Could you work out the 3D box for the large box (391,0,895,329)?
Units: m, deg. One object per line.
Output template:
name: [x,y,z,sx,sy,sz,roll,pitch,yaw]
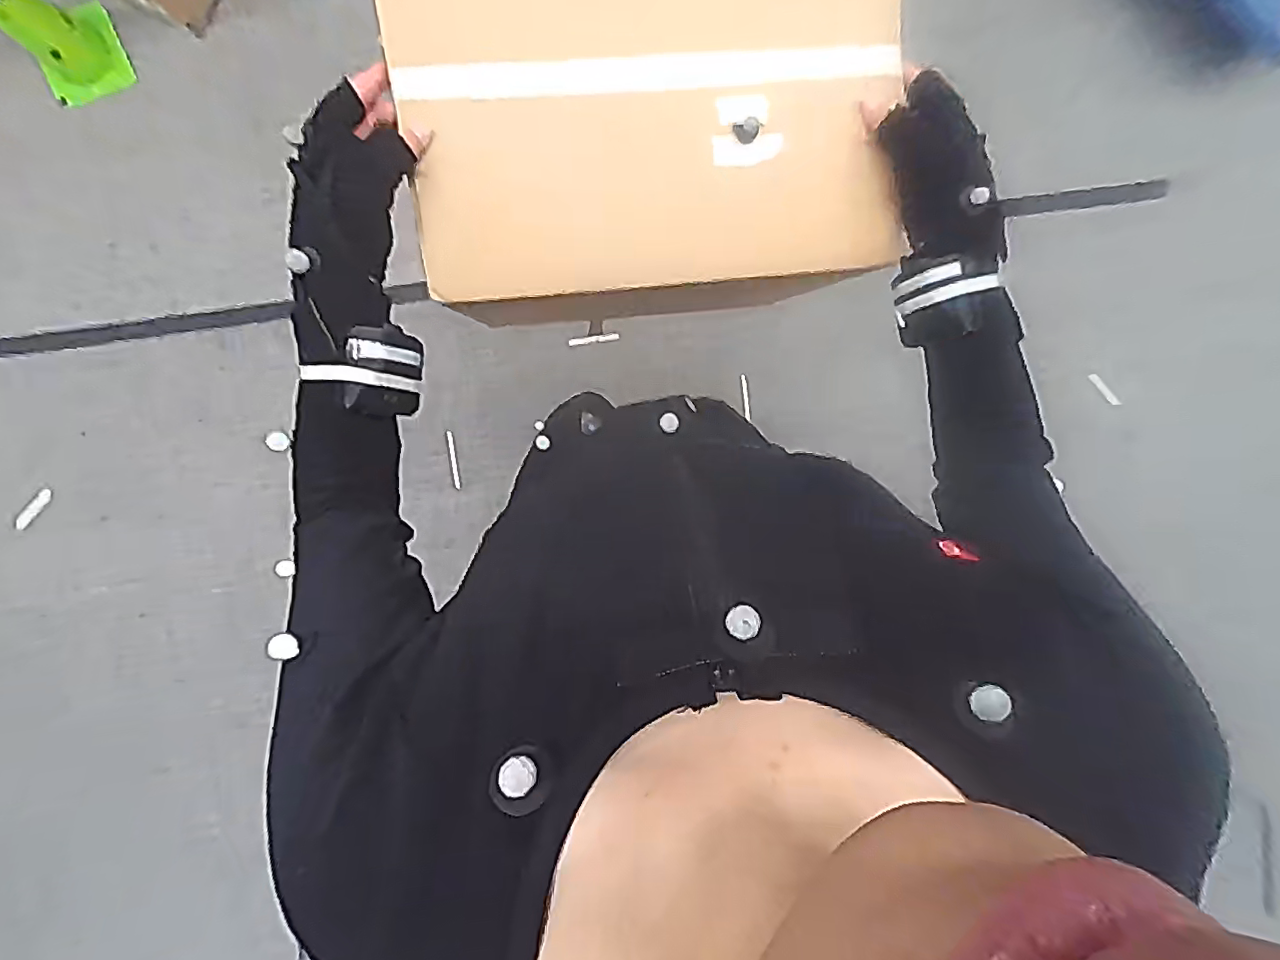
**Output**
large box: [-0.004,-0.351,0.578,0.408,0.320,0.320,-7,103,-7]
